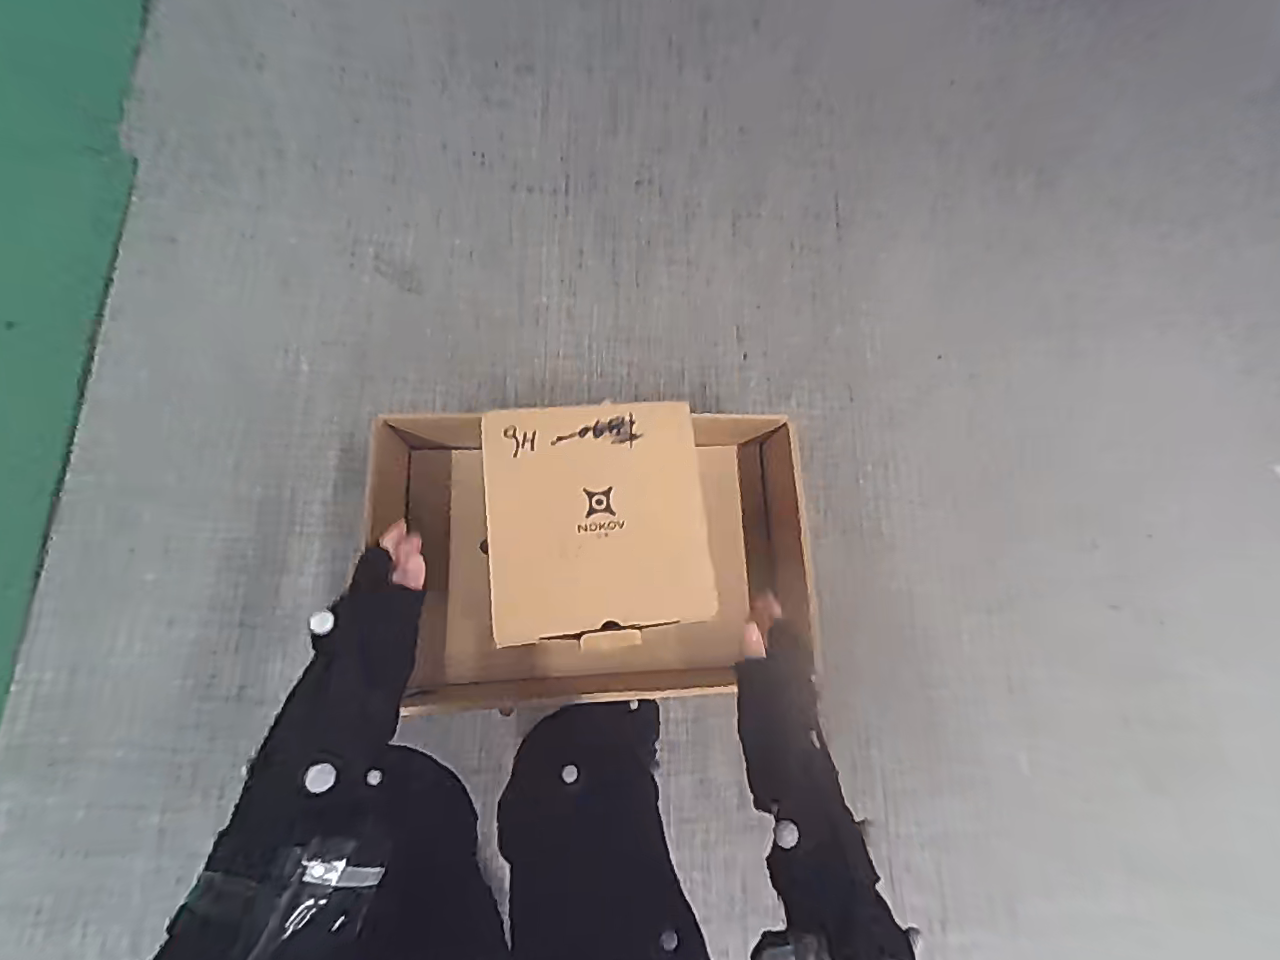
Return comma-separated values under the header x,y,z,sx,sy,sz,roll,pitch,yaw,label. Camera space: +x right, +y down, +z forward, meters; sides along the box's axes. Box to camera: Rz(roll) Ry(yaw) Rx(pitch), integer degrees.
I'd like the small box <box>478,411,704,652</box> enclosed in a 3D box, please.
x,y,z,sx,sy,sz,roll,pitch,yaw,label
-0.048,0.049,0.486,0.168,0.176,0.179,-3,78,-9,small box
